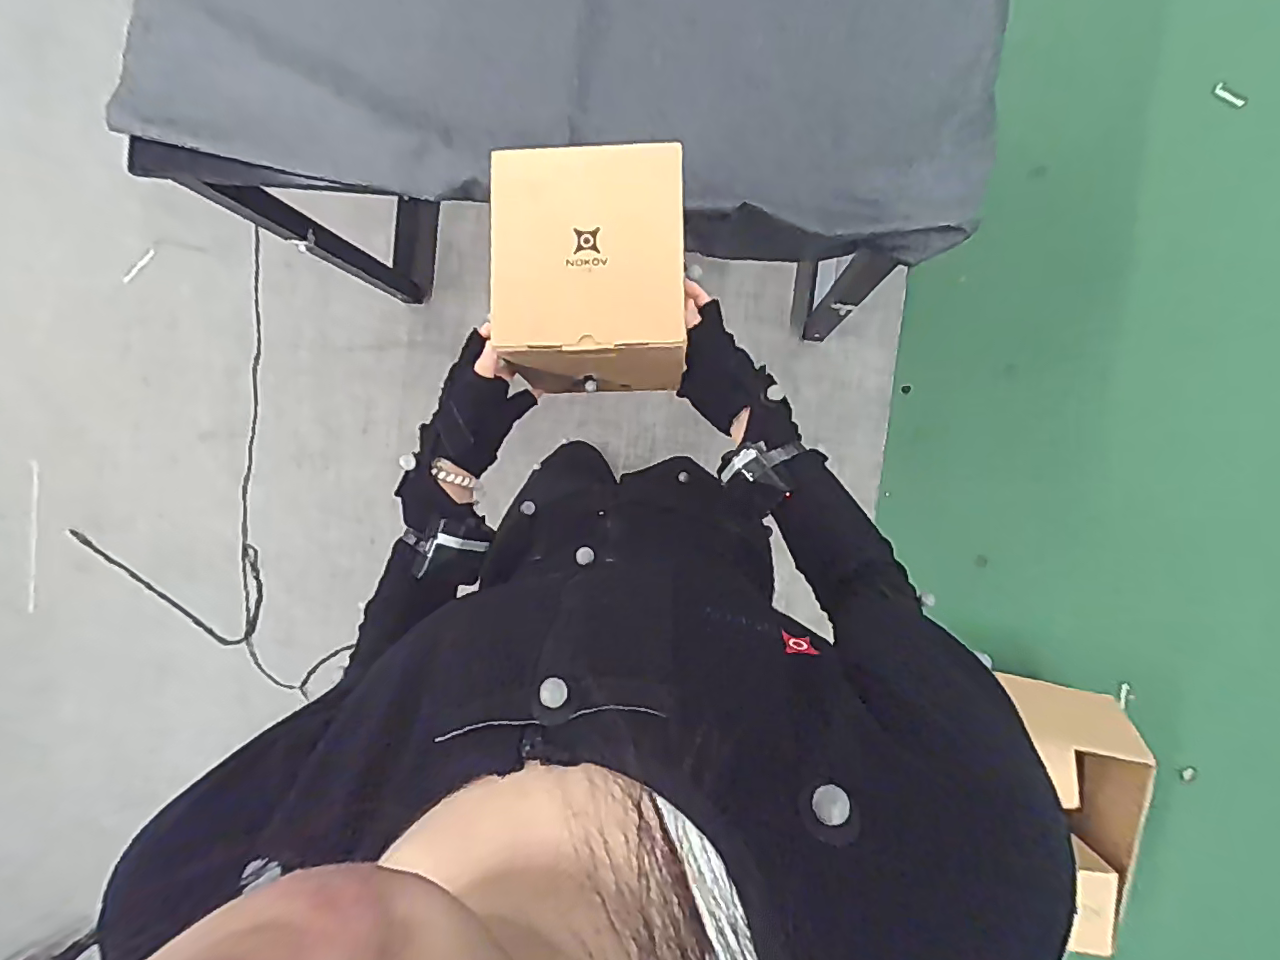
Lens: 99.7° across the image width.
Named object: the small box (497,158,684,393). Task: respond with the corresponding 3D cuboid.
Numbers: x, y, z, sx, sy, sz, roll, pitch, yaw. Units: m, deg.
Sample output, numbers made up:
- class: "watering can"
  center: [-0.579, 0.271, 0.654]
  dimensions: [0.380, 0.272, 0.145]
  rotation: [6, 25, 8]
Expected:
- class: "small box"
  center: [-0.041, -0.194, 0.554]
  dimensions: [0.168, 0.176, 0.179]
  rotation: [-1, 88, 2]
